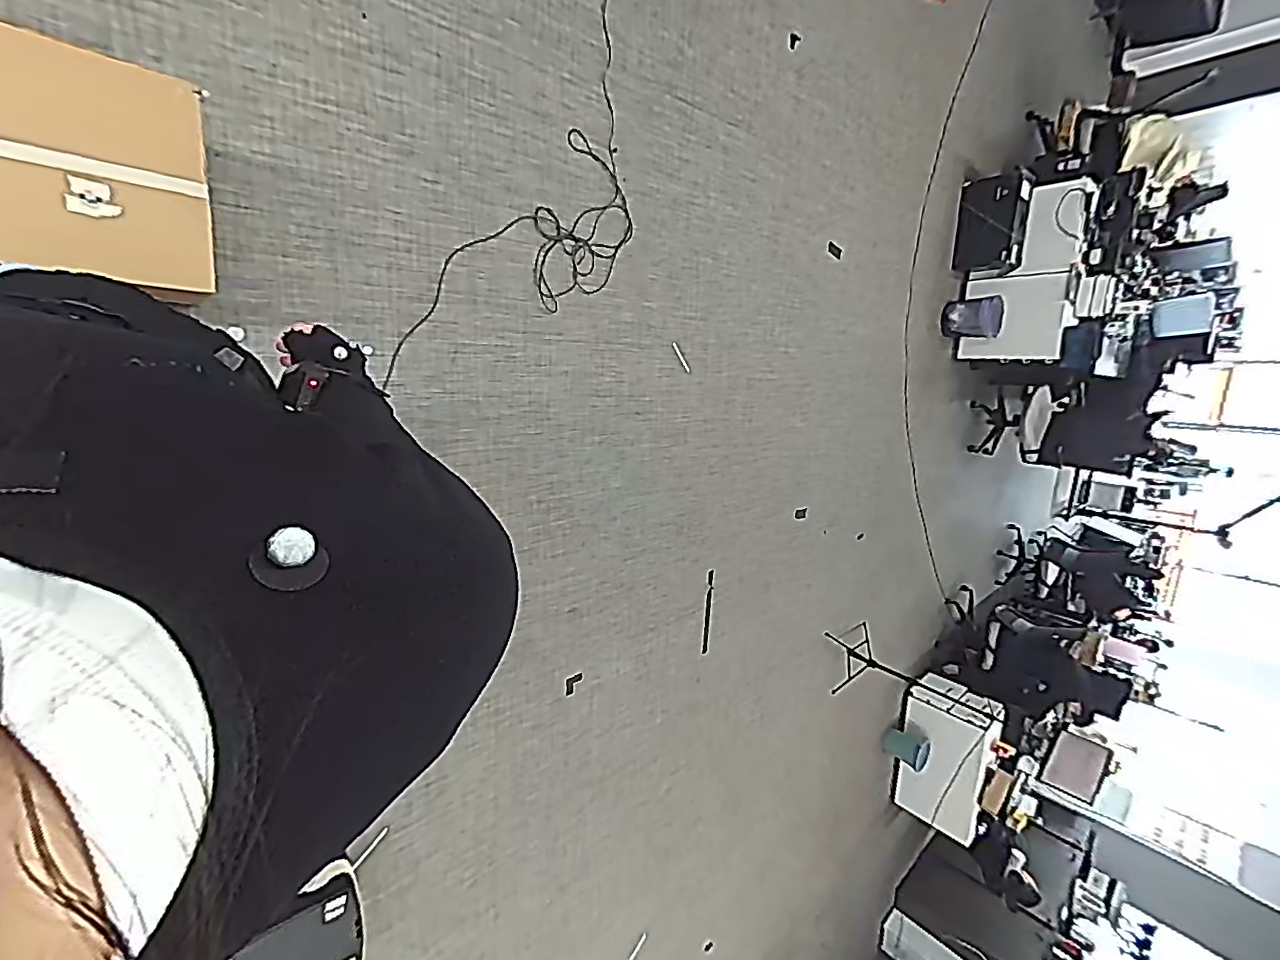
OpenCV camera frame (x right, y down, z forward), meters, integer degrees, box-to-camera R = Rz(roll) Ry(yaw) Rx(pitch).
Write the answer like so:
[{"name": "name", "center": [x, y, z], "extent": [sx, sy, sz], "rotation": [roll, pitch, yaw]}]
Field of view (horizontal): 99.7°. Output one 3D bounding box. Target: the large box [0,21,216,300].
[{"name": "large box", "center": [-0.946, -0.478, 0.849], "extent": [0.408, 0.320, 0.320], "rotation": [-5, 104, -42]}]

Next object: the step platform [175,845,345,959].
[{"name": "step platform", "center": [-1.052, 1.165, 1.215], "extent": [0.684, 0.204, 0.286], "rotation": [-10, 106, -39]}]
